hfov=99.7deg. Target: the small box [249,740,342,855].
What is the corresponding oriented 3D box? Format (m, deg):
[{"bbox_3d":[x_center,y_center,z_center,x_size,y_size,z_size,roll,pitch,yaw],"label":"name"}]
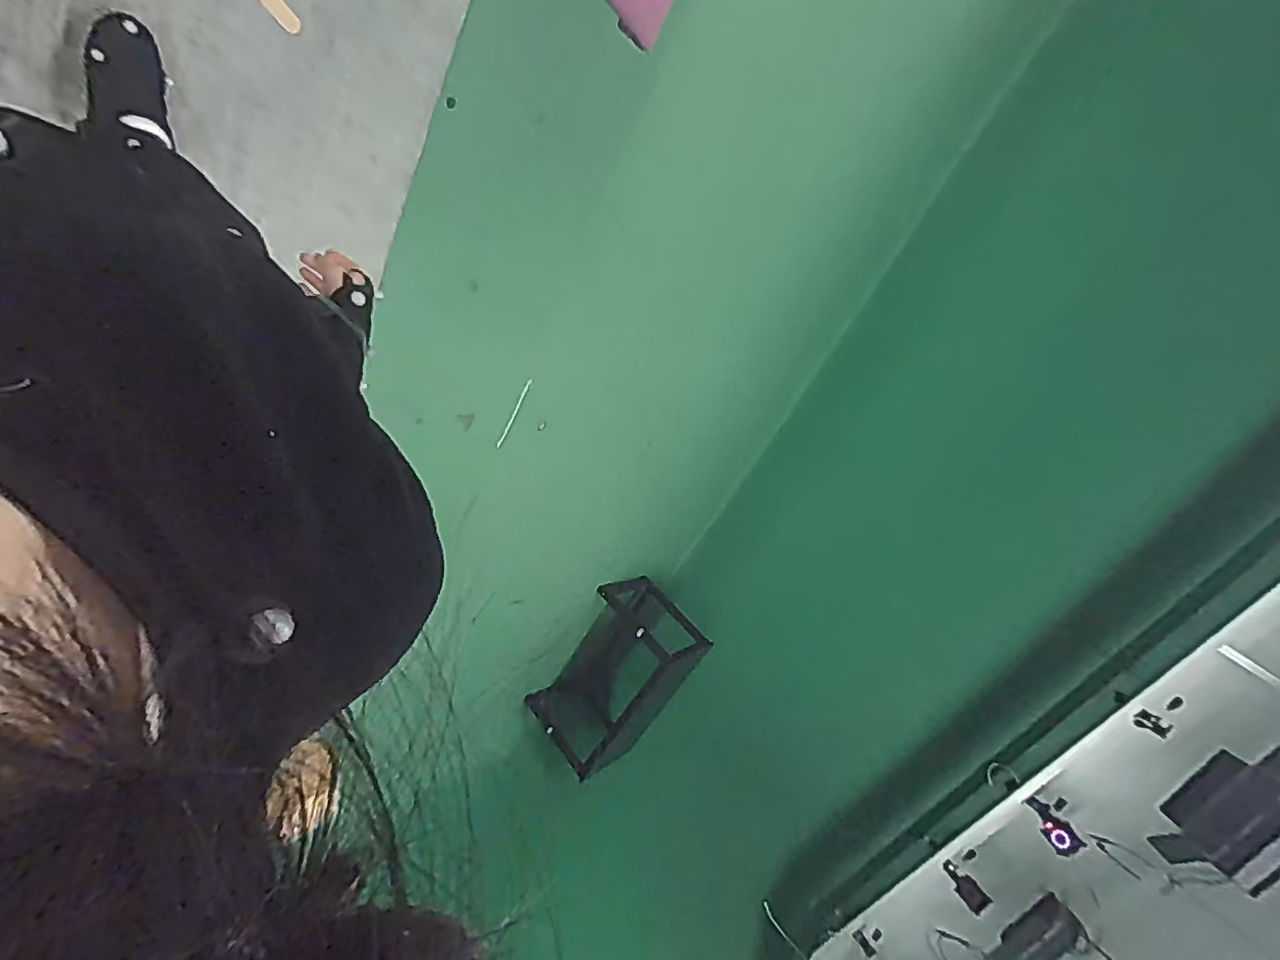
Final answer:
[{"bbox_3d":[-0.908,0.821,1.420,0.168,0.176,0.179,-13,135,-46],"label":"small box"}]
